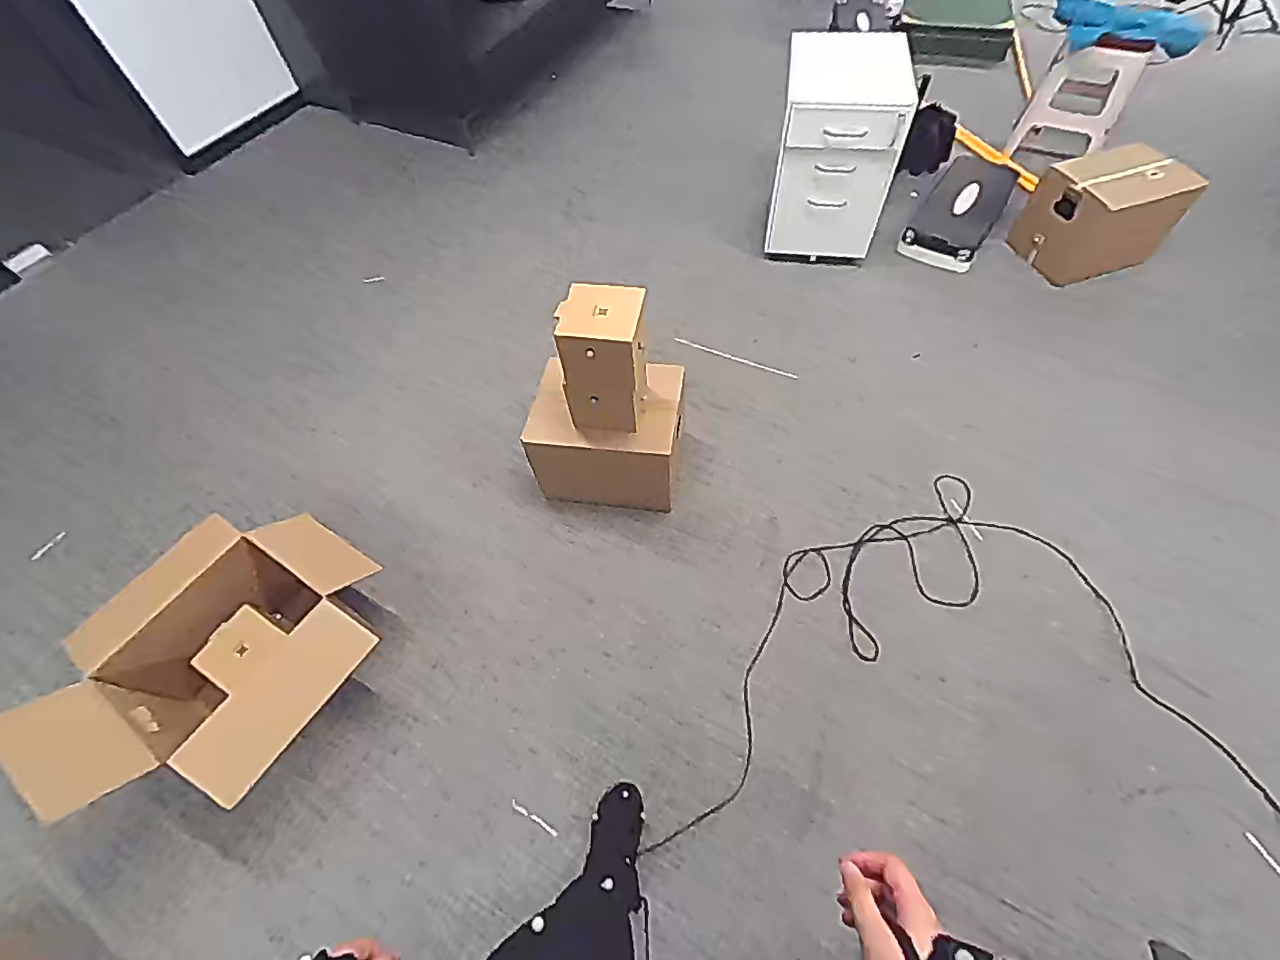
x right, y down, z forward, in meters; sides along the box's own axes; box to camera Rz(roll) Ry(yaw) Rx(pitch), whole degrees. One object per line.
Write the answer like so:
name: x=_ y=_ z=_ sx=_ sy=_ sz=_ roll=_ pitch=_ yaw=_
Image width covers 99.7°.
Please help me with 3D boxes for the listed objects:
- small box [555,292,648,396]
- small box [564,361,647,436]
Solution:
small box: x=-0.081 y=-0.314 z=1.270 sx=0.179 sy=0.176 sz=0.168 roll=6 pitch=60 yaw=9
small box: x=-0.083 y=-0.230 z=1.410 sx=0.179 sy=0.176 sz=0.168 roll=6 pitch=59 yaw=8
